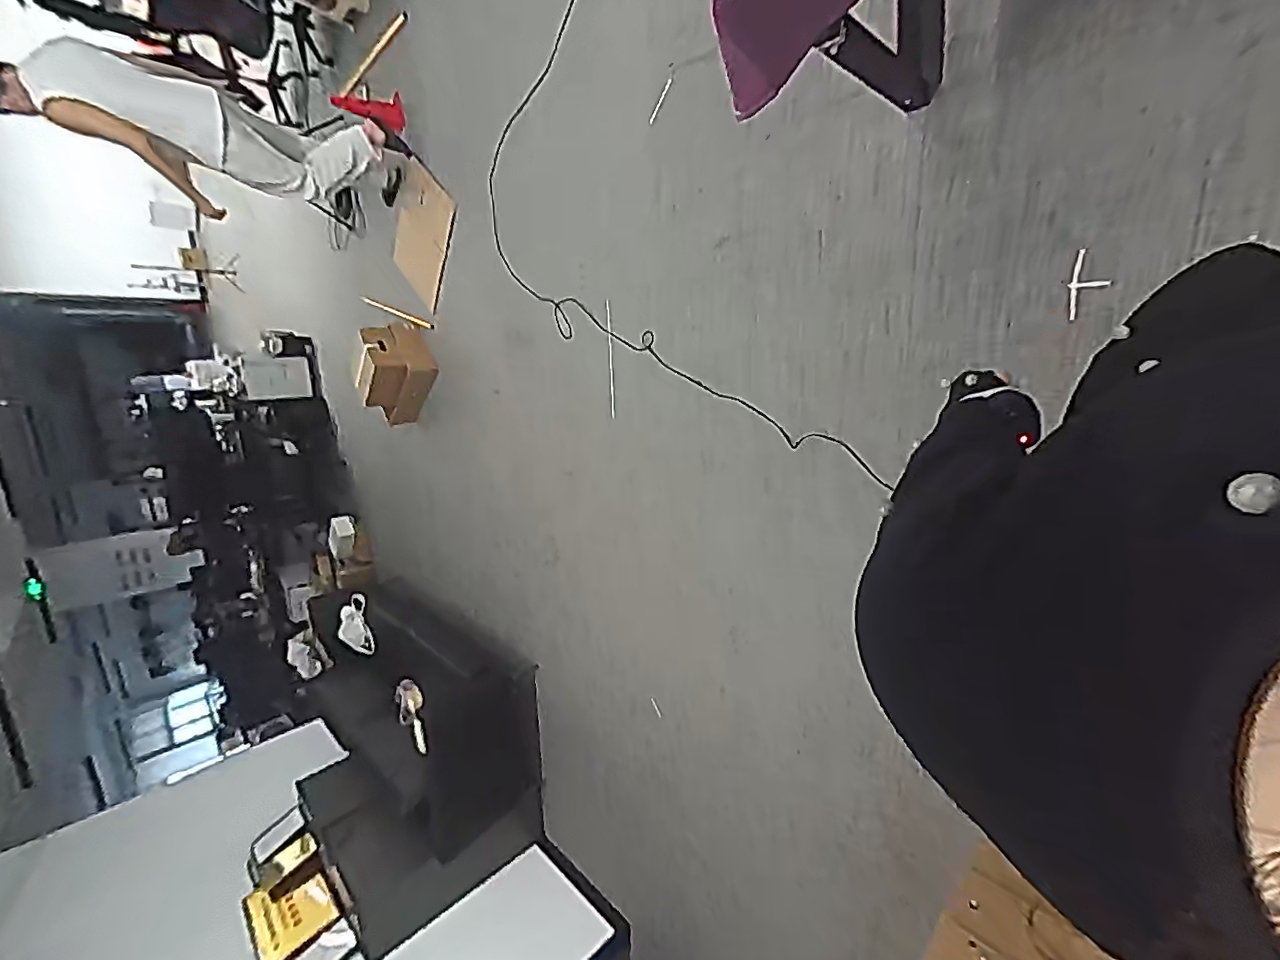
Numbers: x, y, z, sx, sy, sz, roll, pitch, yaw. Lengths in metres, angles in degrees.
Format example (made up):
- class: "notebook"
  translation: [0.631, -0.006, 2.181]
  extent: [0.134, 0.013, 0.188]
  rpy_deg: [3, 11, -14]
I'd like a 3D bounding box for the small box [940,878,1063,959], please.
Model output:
- class: "small box"
  translation: [0.758, 0.994, 1.140]
  extent: [0.179, 0.176, 0.168]
  rpy_deg: [12, 111, 44]
